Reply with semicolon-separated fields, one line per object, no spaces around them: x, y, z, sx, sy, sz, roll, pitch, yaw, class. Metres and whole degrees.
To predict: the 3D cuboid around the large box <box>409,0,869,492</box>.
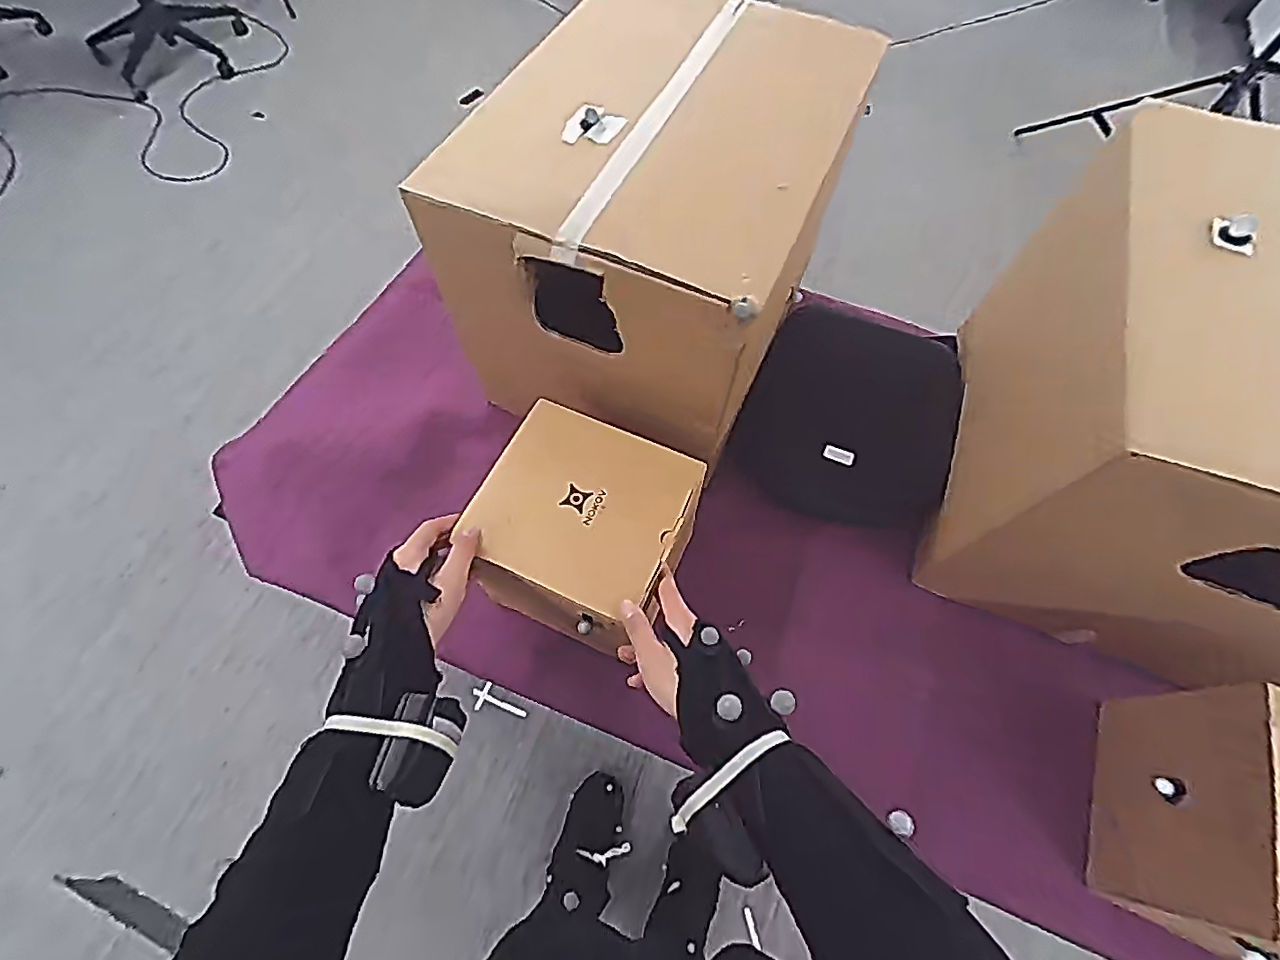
0.019;-0.262;0.638;0.320;0.320;0.408;22;67;10;large box
